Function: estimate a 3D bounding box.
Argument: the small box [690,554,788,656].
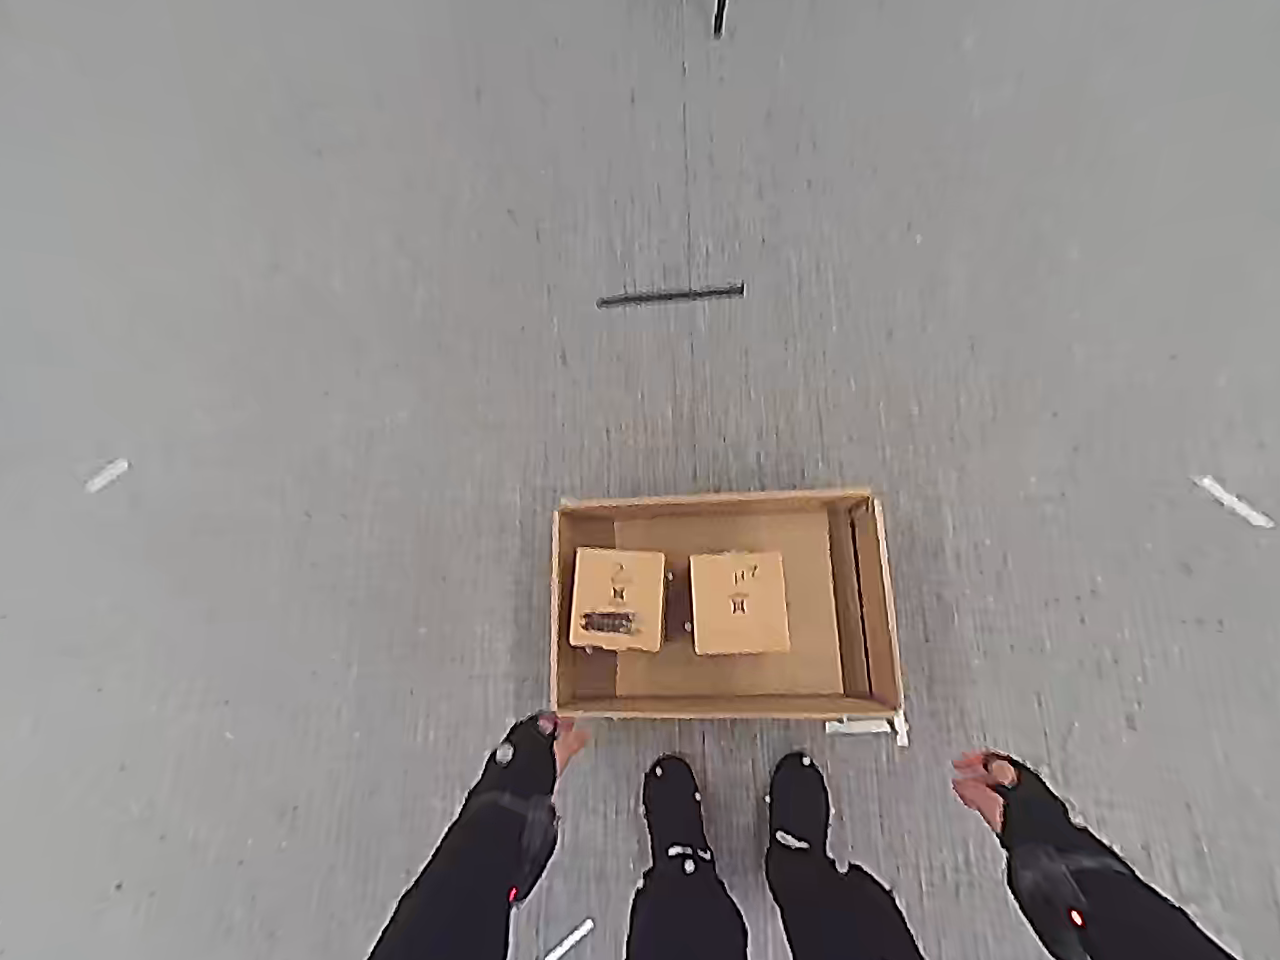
[{"bbox_3d":[0.185,0.237,1.039,0.168,0.176,0.179,-3,76,6],"label":"small box"}]
